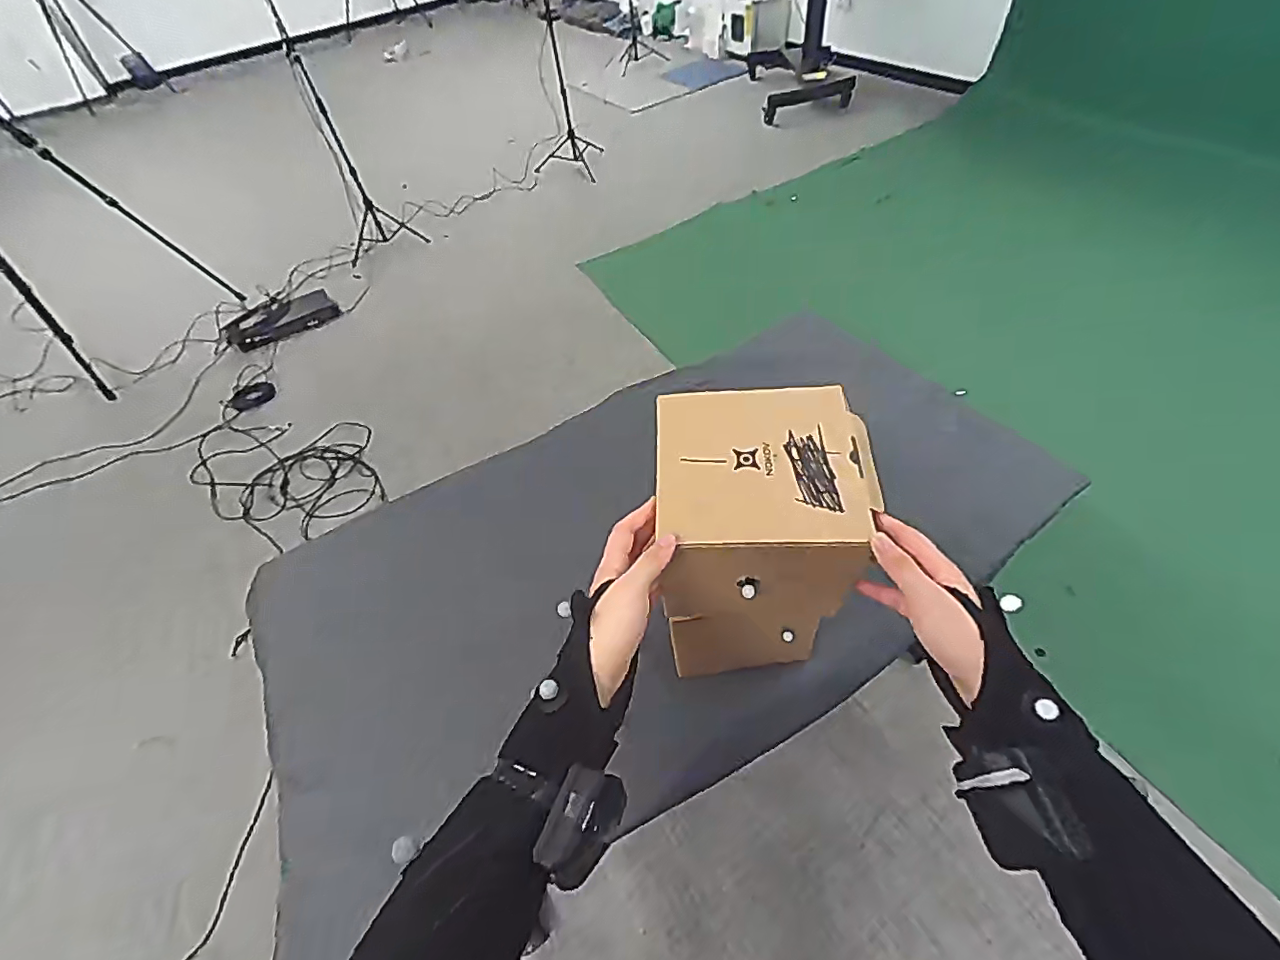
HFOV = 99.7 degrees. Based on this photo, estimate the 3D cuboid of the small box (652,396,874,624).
[{"bbox_3d":[0.107,0.036,0.535,0.179,0.176,0.168,-2,56,6],"label":"small box"}]
